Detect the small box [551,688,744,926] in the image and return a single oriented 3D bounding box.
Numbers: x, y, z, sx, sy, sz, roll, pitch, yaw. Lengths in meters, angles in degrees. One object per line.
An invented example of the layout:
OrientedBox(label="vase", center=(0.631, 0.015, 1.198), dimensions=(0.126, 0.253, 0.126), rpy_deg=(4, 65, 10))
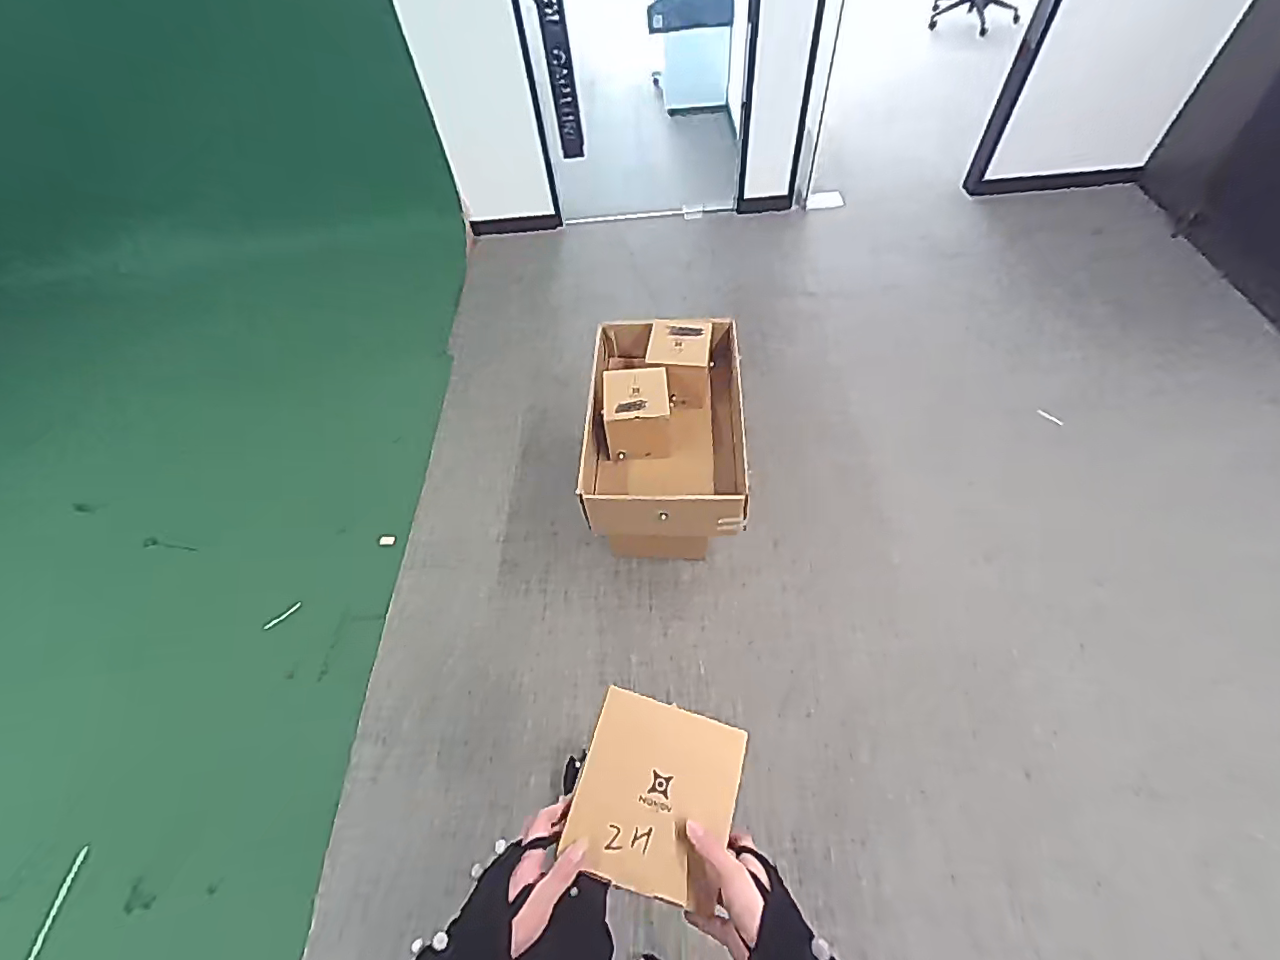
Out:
OrientedBox(label="small box", center=(0.005, 0.367, 0.631), dimensions=(0.168, 0.176, 0.179), rpy_deg=(18, 62, 4))
